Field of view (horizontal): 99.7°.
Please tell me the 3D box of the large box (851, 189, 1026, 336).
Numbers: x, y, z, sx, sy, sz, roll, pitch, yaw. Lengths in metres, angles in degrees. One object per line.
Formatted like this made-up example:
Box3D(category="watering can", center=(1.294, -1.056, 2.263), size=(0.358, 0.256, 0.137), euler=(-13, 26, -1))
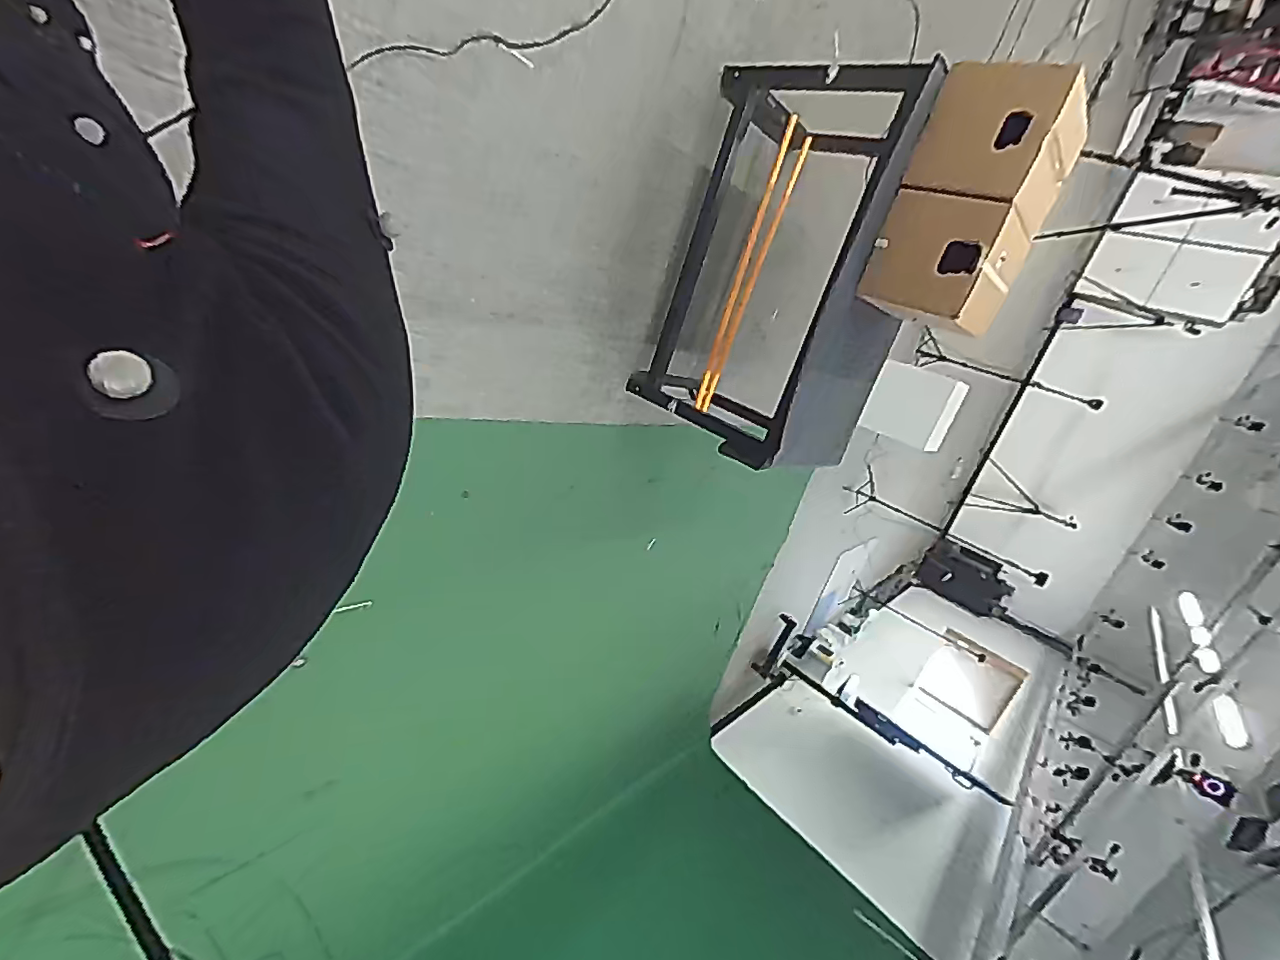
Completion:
Box3D(category="large box", center=(0.926, -0.663, 1.680), size=(0.408, 0.320, 0.320), euler=(-5, 119, -48))
